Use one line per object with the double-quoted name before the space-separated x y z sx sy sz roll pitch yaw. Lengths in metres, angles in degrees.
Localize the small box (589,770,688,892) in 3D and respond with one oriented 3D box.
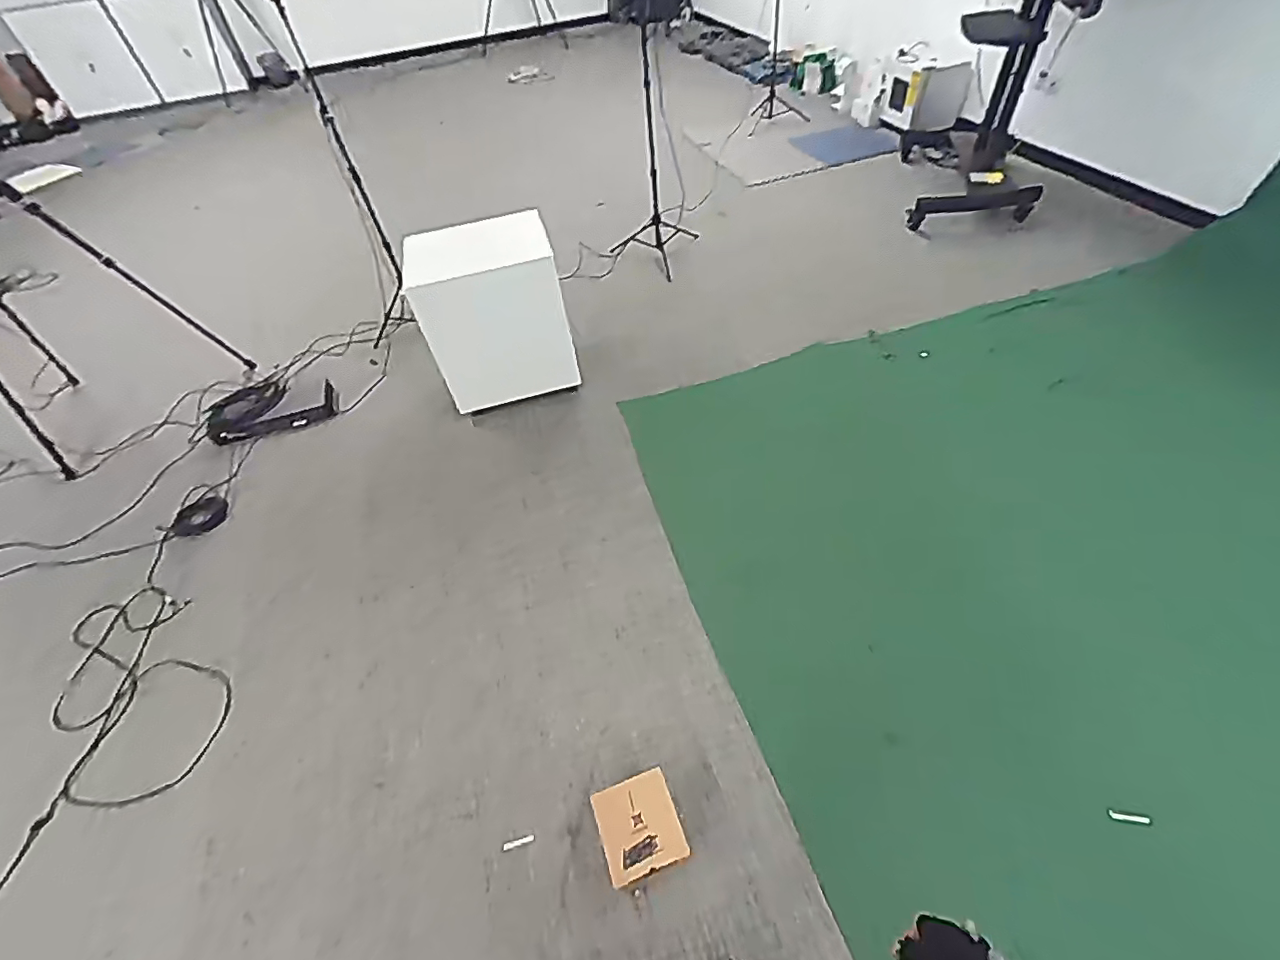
"small box" 0.000 0.770 1.181 0.168 0.176 0.179 -18 50 -9
